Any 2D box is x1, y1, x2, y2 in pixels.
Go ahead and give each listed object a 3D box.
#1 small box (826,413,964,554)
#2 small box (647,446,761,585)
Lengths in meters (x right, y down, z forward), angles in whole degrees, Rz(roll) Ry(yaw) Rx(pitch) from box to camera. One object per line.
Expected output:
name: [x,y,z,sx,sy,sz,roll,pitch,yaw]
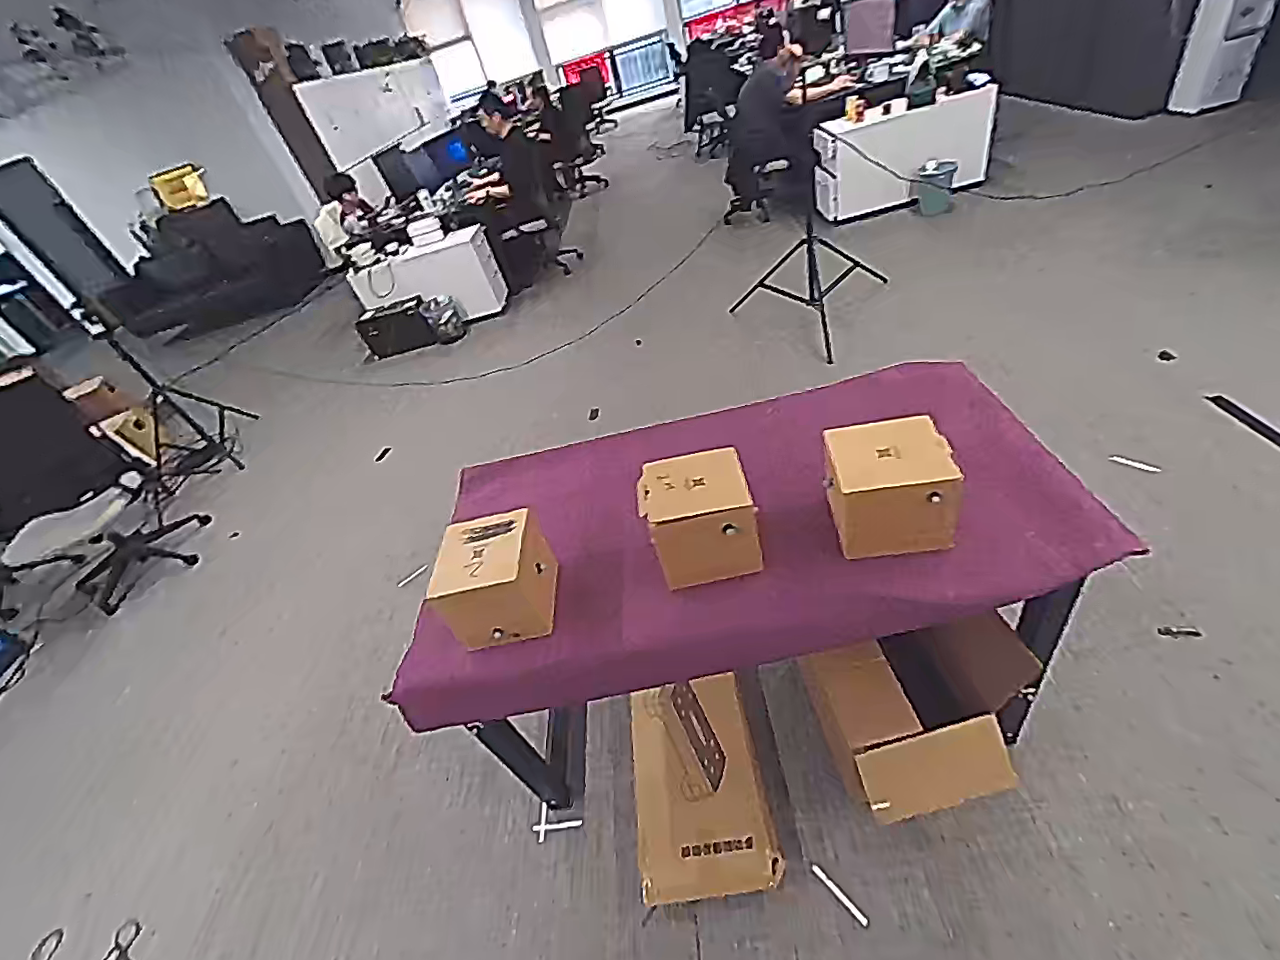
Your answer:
small box: [0.427,0.011,0.930,0.179,0.176,0.168,-8,41,12]
small box: [0.118,0.067,0.985,0.179,0.176,0.168,-13,37,7]
